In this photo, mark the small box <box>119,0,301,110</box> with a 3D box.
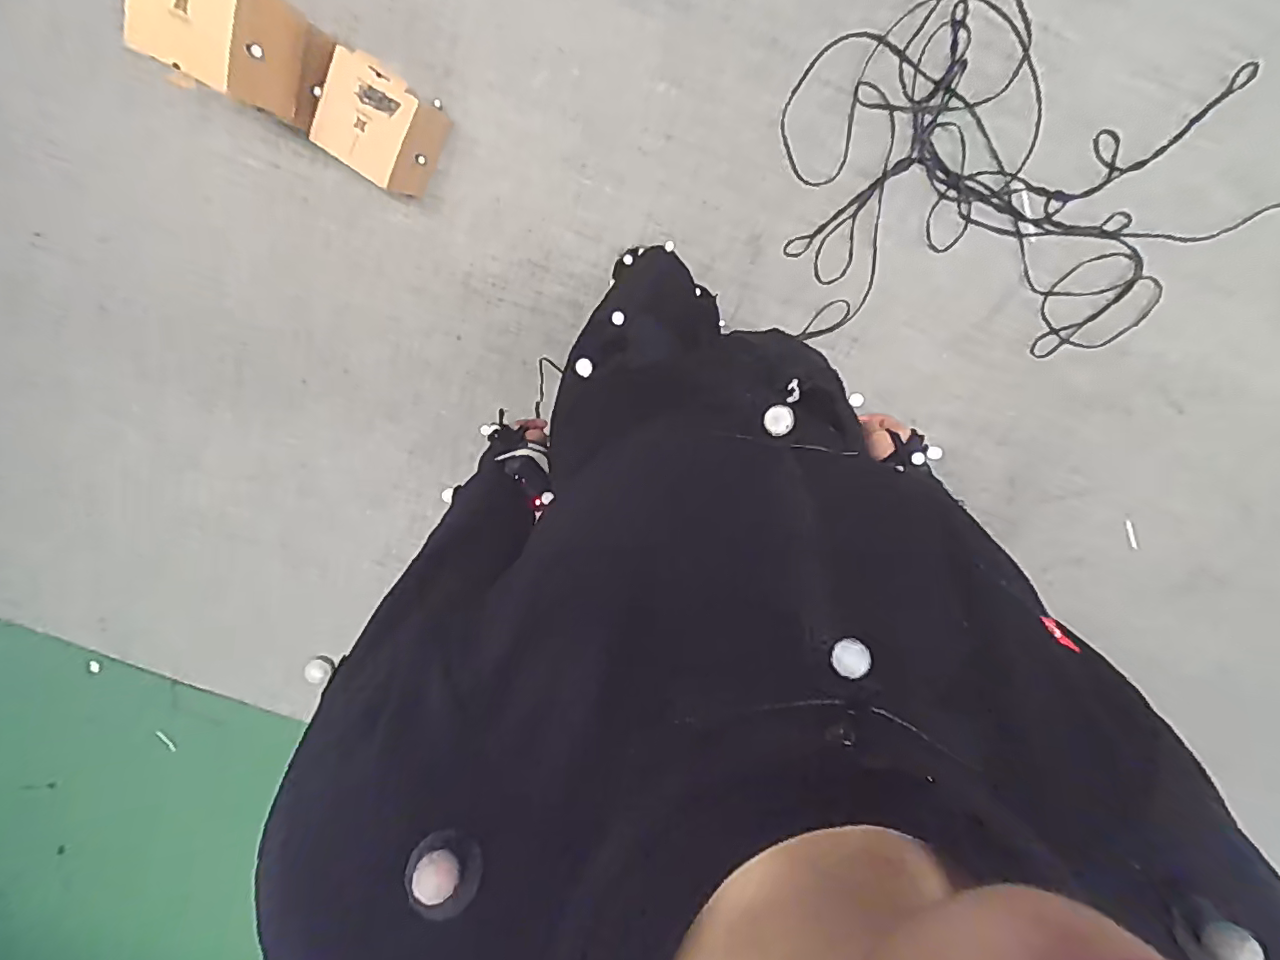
[{"bbox_3d":[-0.698,-0.758,0.894,0.168,0.176,0.179,24,113,-7],"label":"small box"}]

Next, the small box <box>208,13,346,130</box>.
[{"bbox_3d":[-0.704,-0.815,1.047,0.168,0.176,0.179,24,114,-6],"label":"small box"}]
